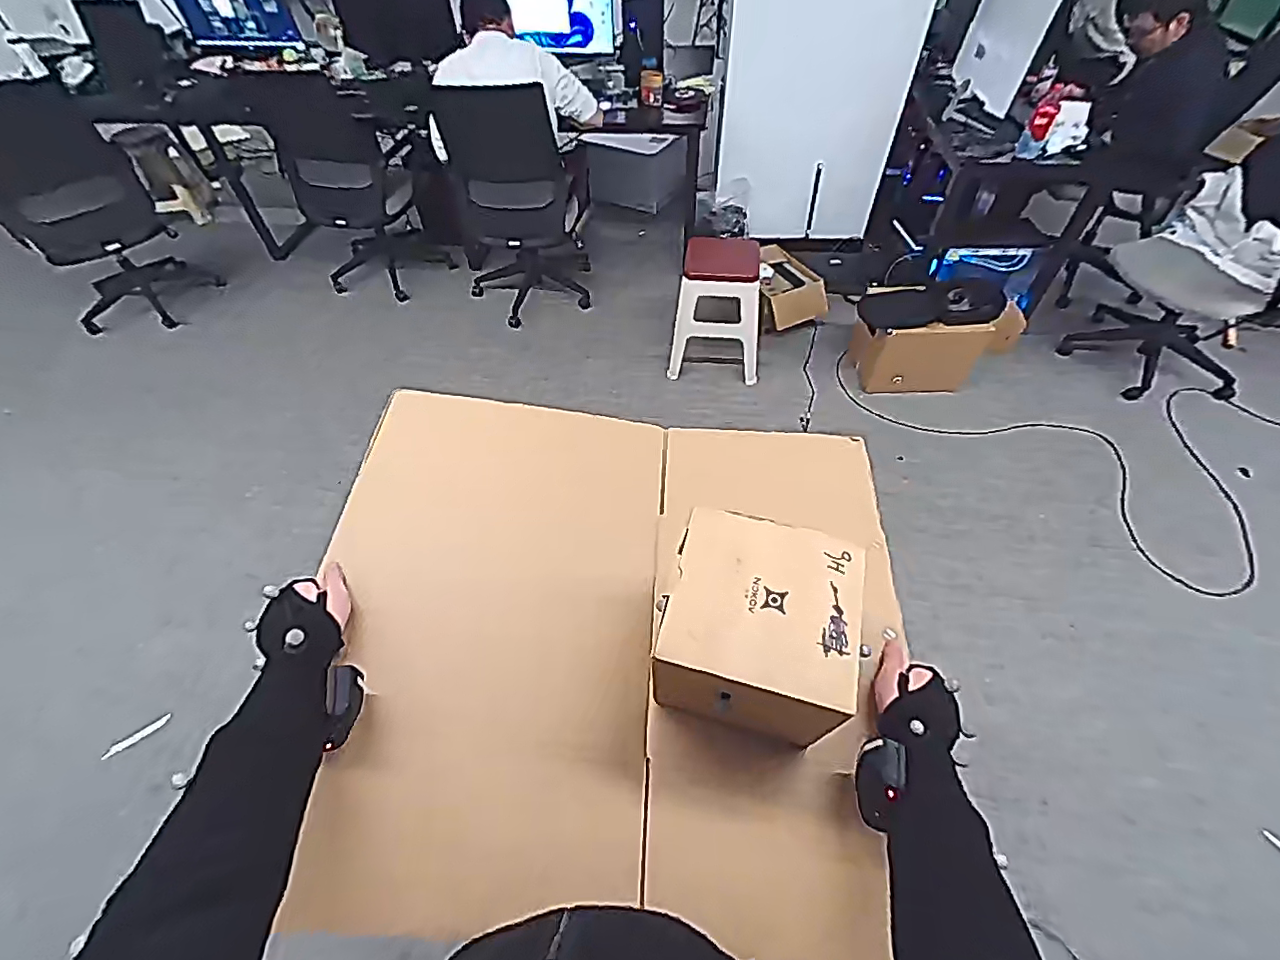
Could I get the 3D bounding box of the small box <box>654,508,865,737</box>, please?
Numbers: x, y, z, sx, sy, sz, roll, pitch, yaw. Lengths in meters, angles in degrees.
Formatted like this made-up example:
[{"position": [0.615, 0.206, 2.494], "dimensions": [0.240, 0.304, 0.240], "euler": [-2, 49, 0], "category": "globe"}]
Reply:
[{"position": [0.121, 0.156, 0.574], "dimensions": [0.179, 0.176, 0.168], "euler": [12, 57, 11], "category": "small box"}]
